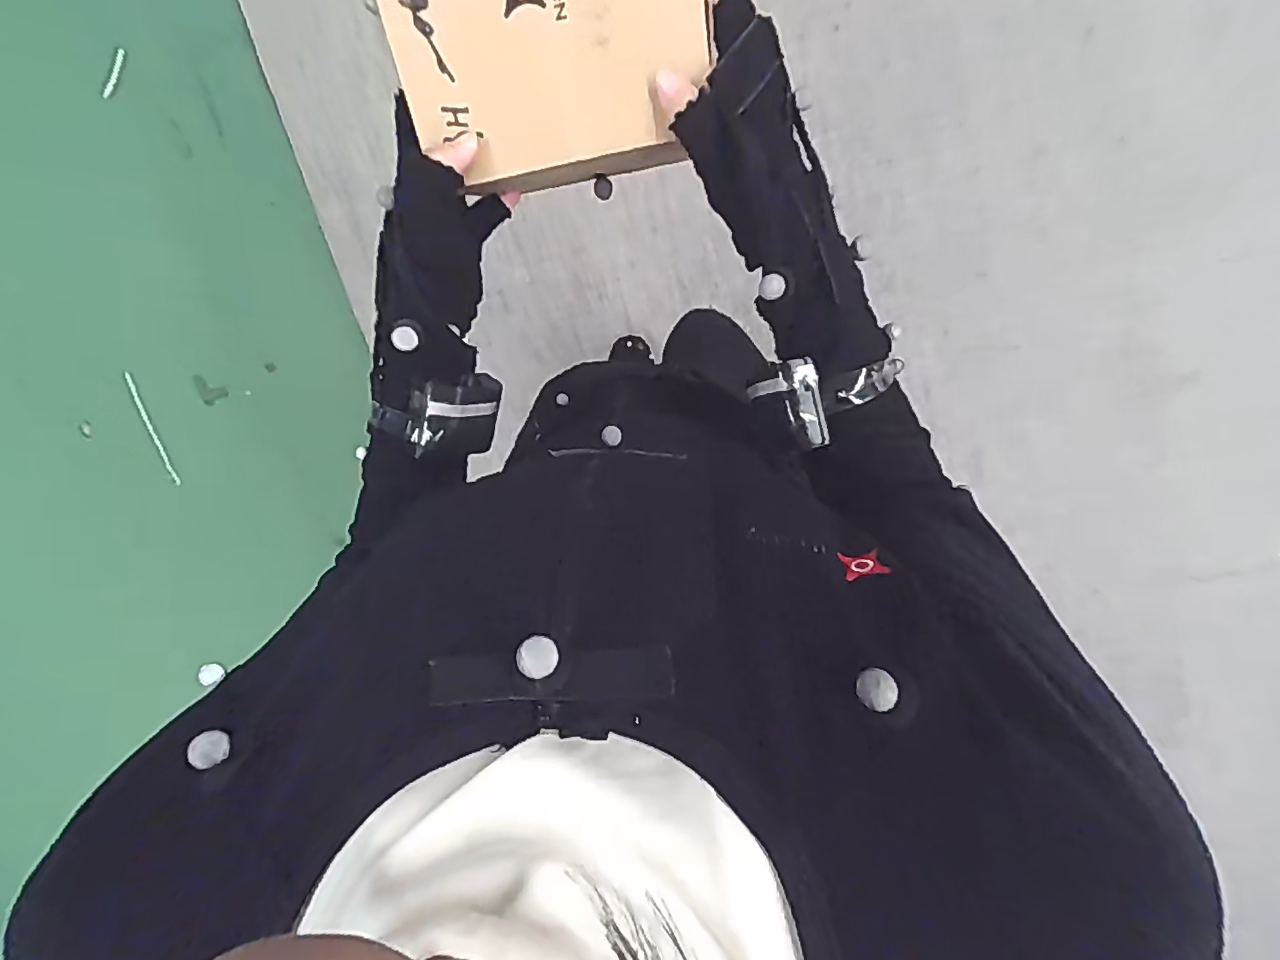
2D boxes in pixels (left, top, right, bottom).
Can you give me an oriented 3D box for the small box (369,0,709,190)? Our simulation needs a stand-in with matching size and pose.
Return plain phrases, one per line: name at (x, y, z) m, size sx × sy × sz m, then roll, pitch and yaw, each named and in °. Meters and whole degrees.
small box at (-0.054, -0.296, 0.352) m, size 0.179 × 0.176 × 0.168 m, roll -7°, pitch 115°, yaw 7°
